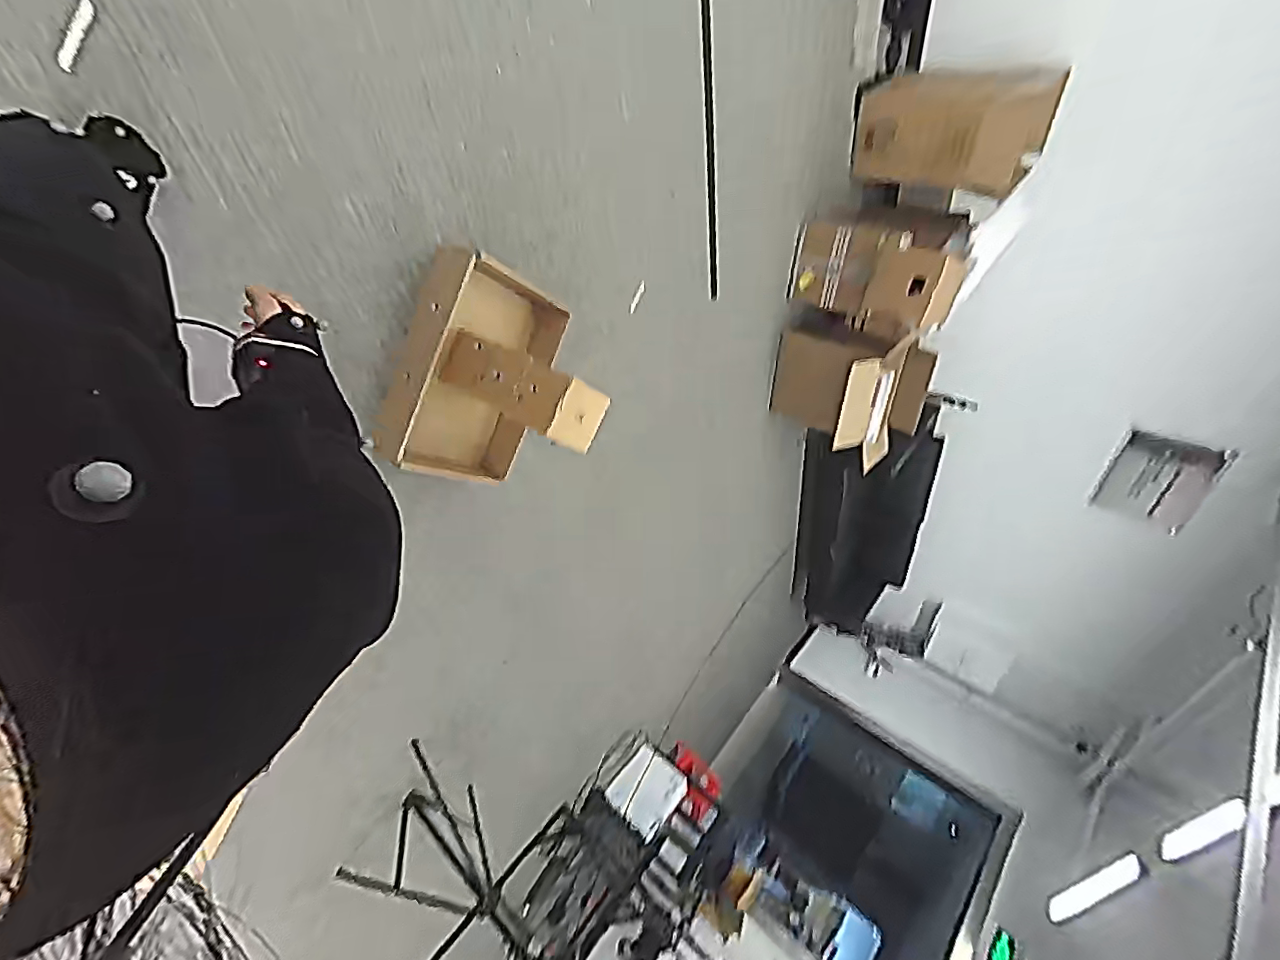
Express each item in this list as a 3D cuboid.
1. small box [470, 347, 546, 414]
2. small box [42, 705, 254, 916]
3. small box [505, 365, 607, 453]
[{"bbox_3d":[-0.352,-0.264,1.551,0.179,0.176,0.168,23,94,-57],"label":"small box"},{"bbox_3d":[-0.710,0.456,0.780,0.168,0.176,0.179,29,88,-57],"label":"small box"},{"bbox_3d":[-0.228,-0.195,1.470,0.179,0.176,0.168,21,95,-57],"label":"small box"}]
